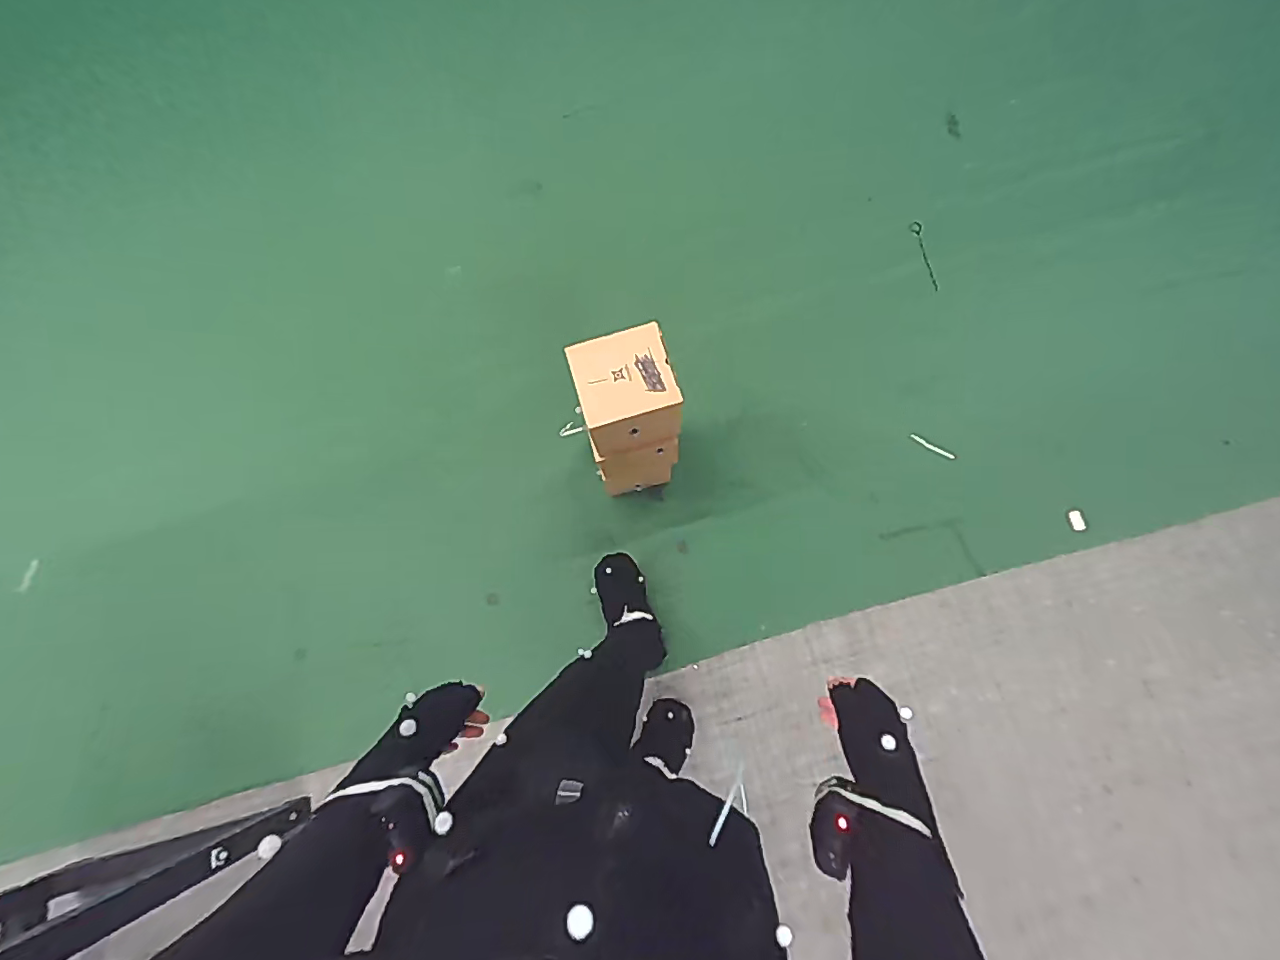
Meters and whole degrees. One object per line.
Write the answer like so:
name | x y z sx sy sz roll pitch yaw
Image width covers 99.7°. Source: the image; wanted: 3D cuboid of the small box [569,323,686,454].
small box | -0.022 -0.167 1.033 0.179 0.176 0.168 -17 75 -1

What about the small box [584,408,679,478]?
small box | -0.017 -0.116 1.190 0.179 0.176 0.168 -16 76 -1
